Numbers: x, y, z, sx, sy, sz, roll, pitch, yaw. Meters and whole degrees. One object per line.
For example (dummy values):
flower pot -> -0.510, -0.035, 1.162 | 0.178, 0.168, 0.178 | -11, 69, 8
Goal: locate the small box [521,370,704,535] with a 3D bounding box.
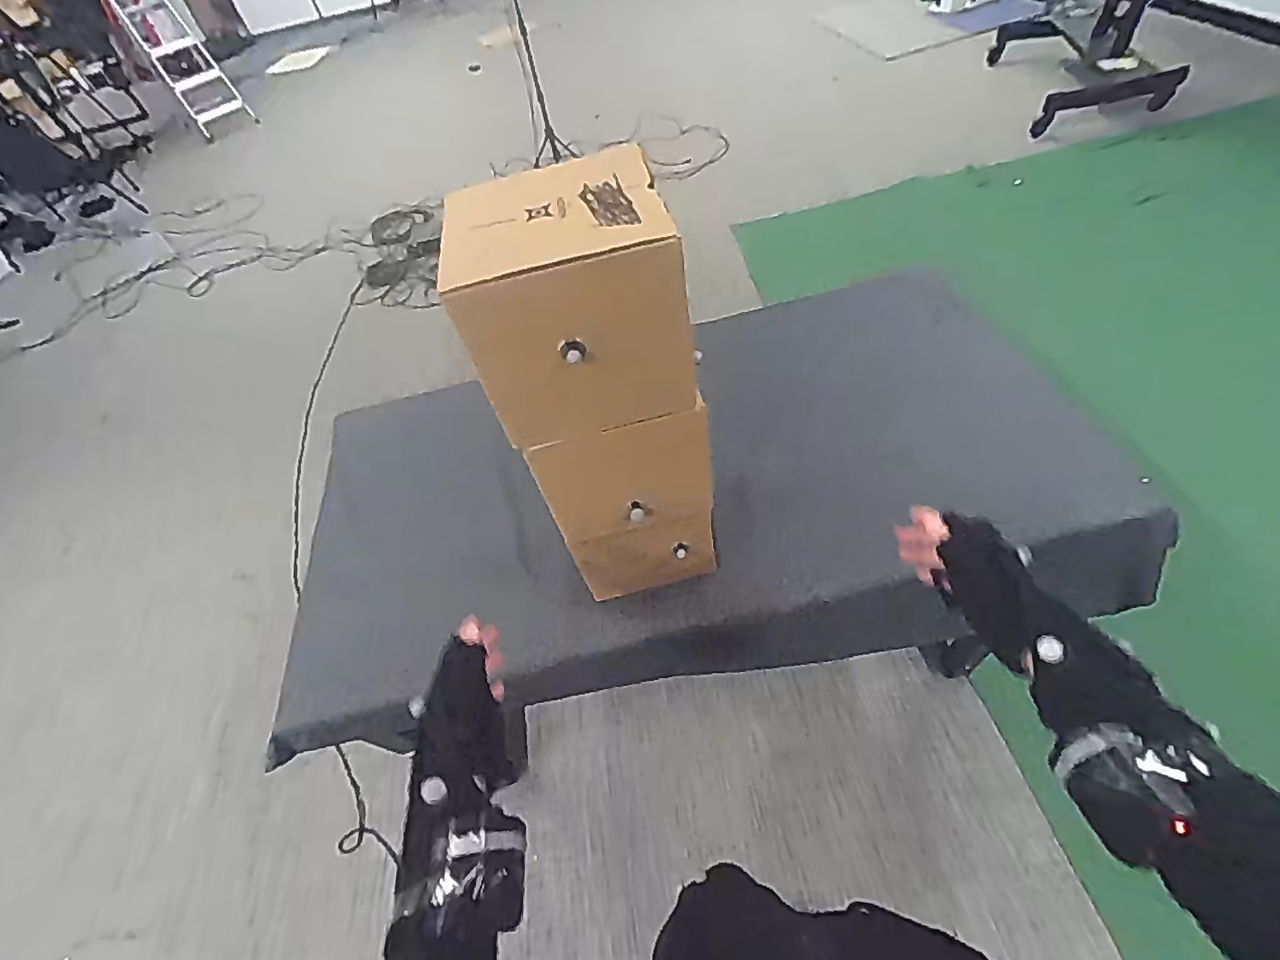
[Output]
small box -> -0.030, -0.061, 0.612 | 0.179, 0.176, 0.168 | -14, 52, 0

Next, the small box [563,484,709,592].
small box -> -0.008, 0.032, 0.745 | 0.179, 0.176, 0.168 | -15, 52, 1

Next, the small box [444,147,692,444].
small box -> -0.057, -0.158, 0.483 | 0.179, 0.176, 0.168 | -15, 53, -2
